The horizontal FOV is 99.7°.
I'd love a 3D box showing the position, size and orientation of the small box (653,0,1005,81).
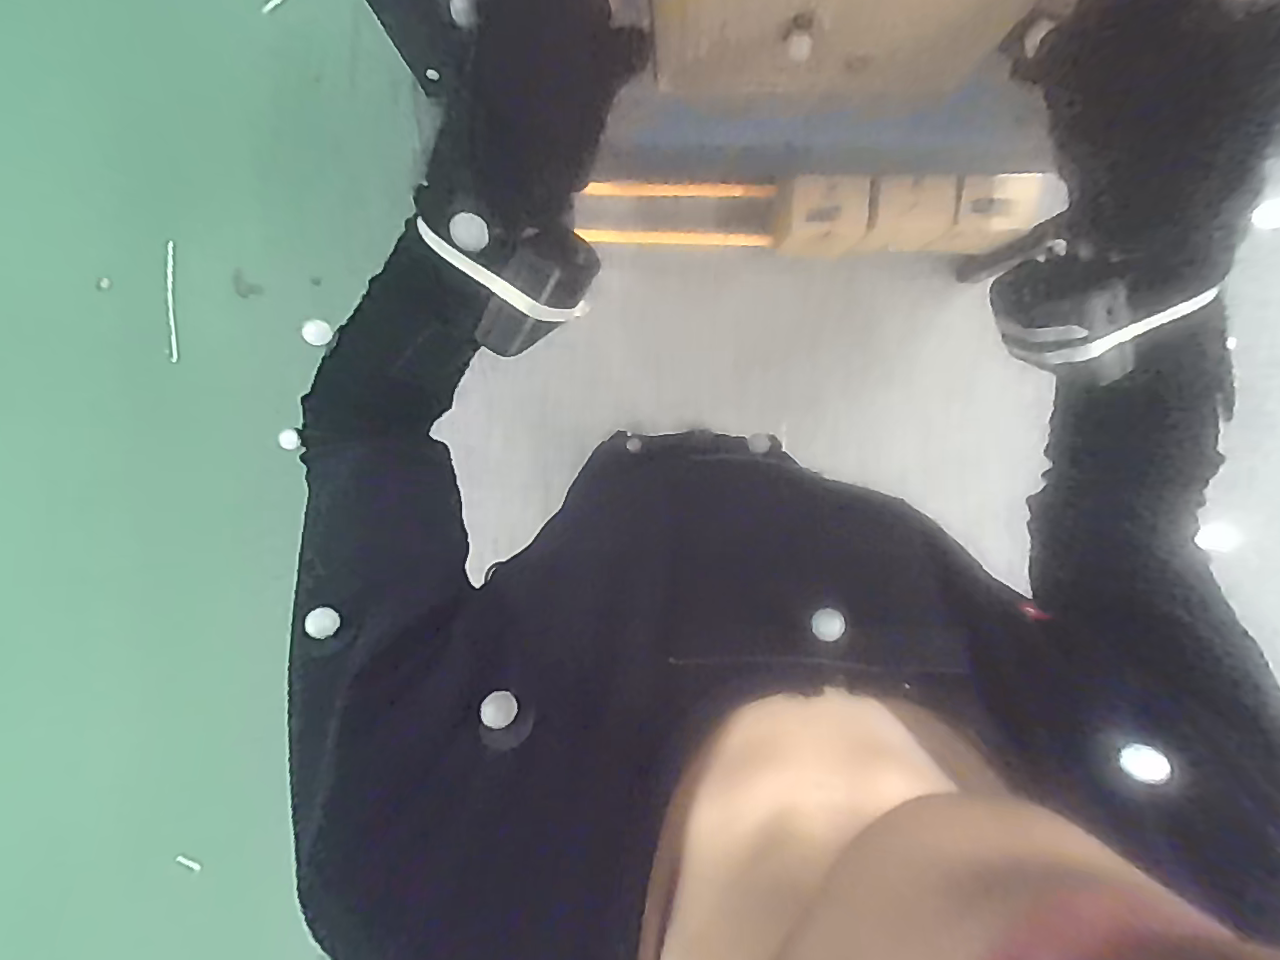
[{"bbox_3d":[0.085,-0.295,0.208,0.168,0.176,0.179,2,103,3],"label":"small box"}]
